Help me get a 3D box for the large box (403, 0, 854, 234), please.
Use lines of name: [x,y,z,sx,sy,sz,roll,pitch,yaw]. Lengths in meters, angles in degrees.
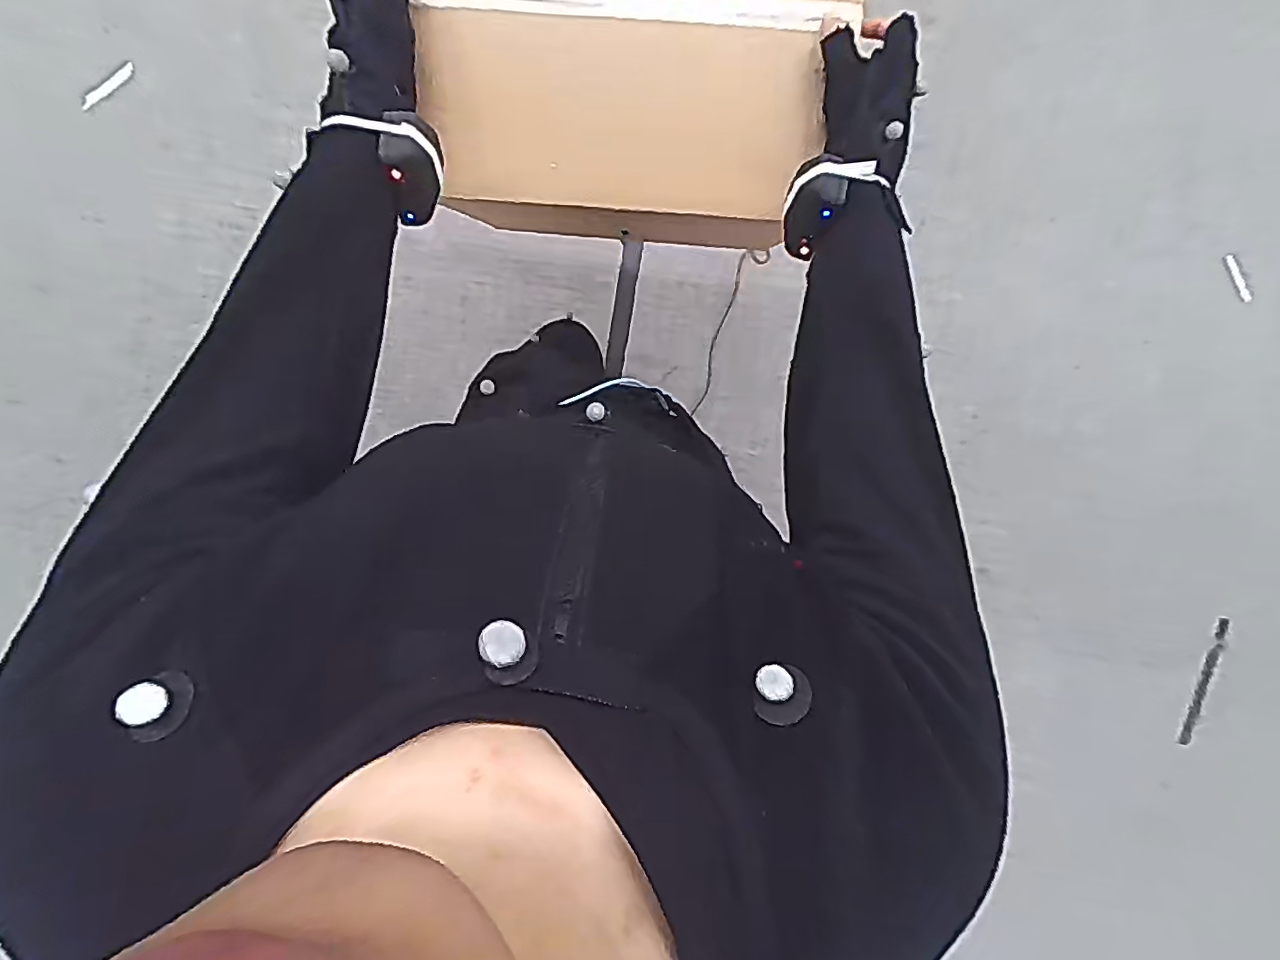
large box: [-0.005,-0.467,0.614,0.408,0.320,0.320,4,108,1]
